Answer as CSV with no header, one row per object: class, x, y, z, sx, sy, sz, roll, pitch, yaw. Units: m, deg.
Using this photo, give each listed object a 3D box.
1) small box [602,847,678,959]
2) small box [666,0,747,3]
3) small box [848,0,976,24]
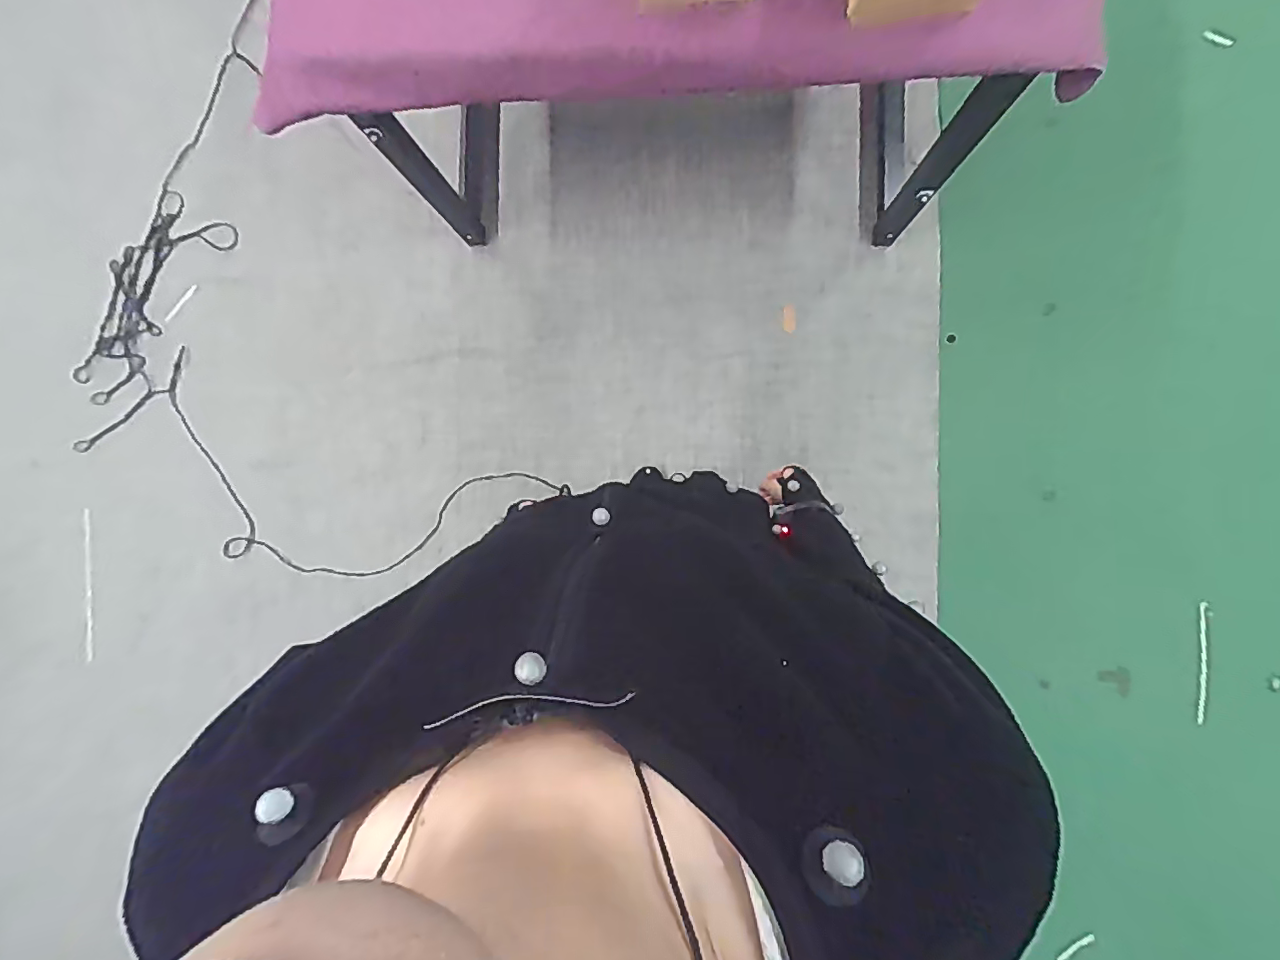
small box,0.007,1.076,1.387,0.179,0.176,0.168,-5,88,6
small box,0.082,-0.775,0.707,0.168,0.176,0.179,3,89,5
small box,0.377,-0.727,0.682,0.179,0.176,0.168,-1,91,6
